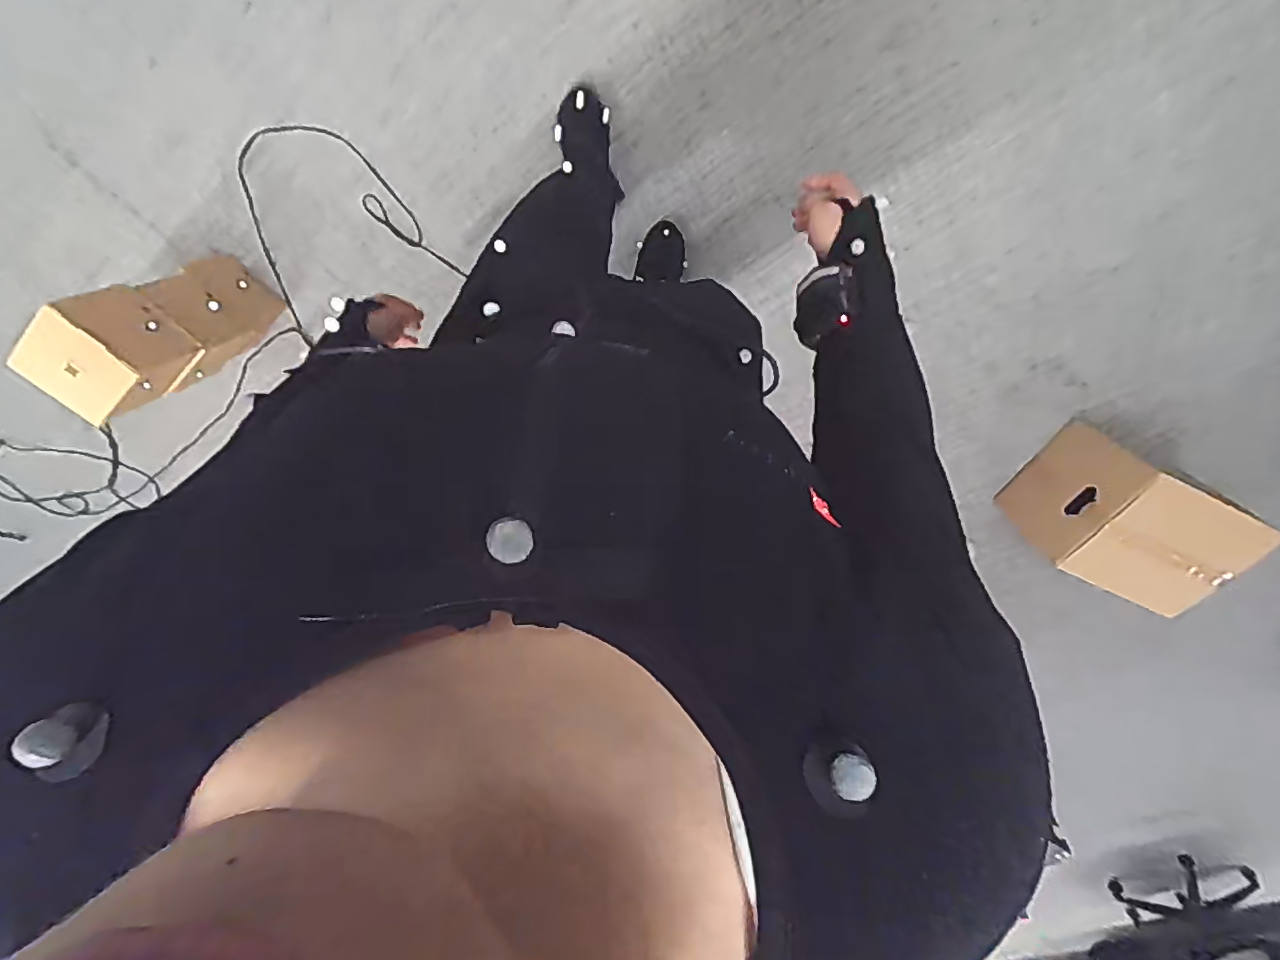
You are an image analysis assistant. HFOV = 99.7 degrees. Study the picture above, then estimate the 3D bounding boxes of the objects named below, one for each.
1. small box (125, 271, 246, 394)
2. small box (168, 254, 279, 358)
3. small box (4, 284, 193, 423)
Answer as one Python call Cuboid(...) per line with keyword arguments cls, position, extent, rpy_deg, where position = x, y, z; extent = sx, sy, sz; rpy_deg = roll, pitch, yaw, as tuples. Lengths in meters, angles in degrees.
Cuboid(cls="small box", position=(-1.019, -0.326, 1.182), extent=(0.179, 0.176, 0.168), rpy_deg=(-33, 115, 19))
Cuboid(cls="small box", position=(-1.027, -0.421, 1.315), extent=(0.179, 0.176, 0.168), rpy_deg=(-36, 113, 22))
Cuboid(cls="small box", position=(-1.024, -0.247, 1.039), extent=(0.179, 0.176, 0.168), rpy_deg=(-35, 115, 20))
